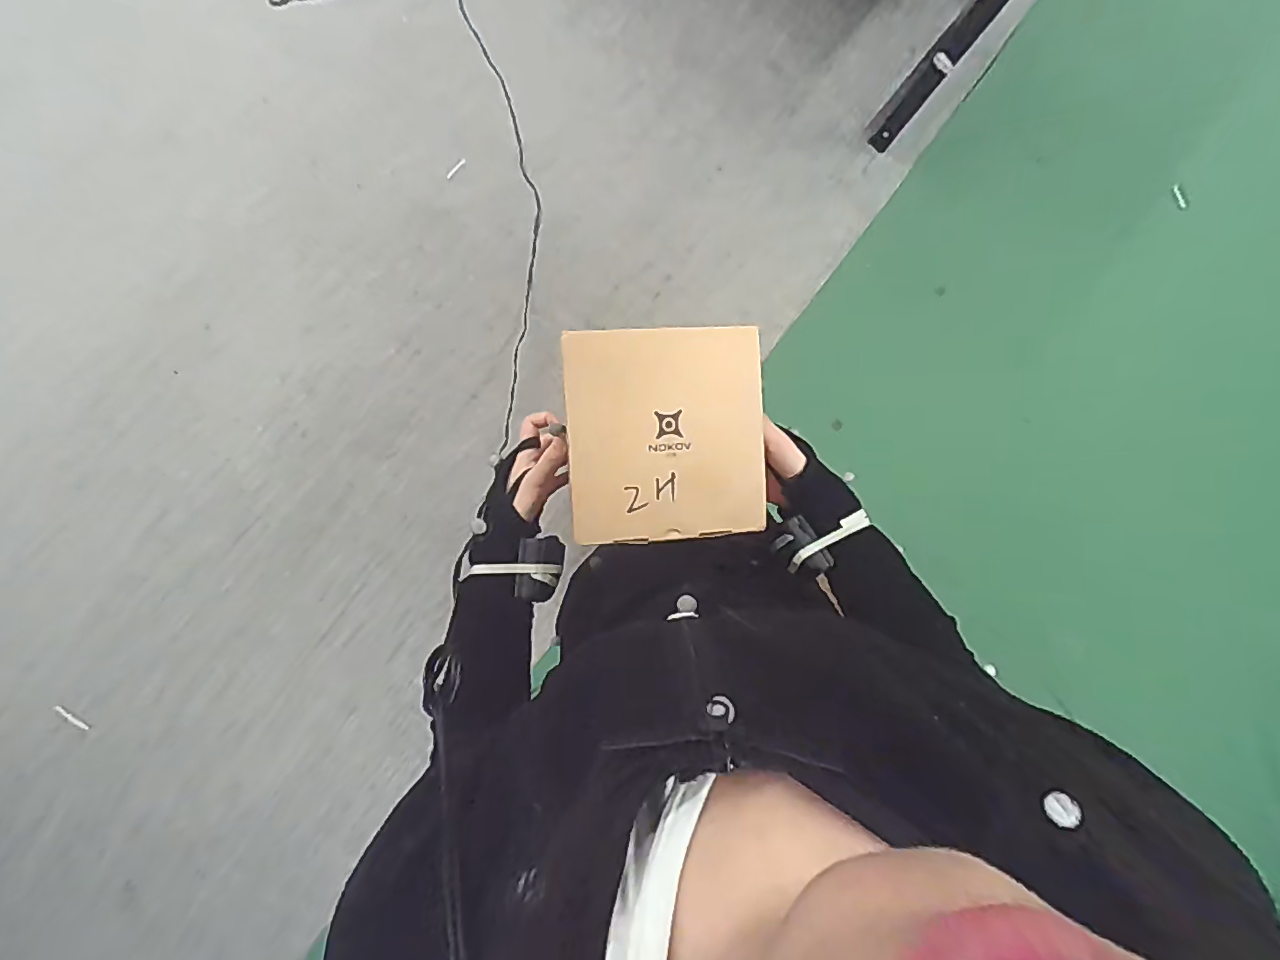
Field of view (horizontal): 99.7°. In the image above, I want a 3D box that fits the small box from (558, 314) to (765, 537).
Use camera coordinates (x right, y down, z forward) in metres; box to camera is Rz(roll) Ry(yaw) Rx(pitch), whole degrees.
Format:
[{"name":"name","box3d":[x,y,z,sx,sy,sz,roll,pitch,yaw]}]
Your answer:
[{"name":"small box","box3d":[0.009,-0.049,0.515,0.168,0.176,0.179,-4,94,-7]}]
